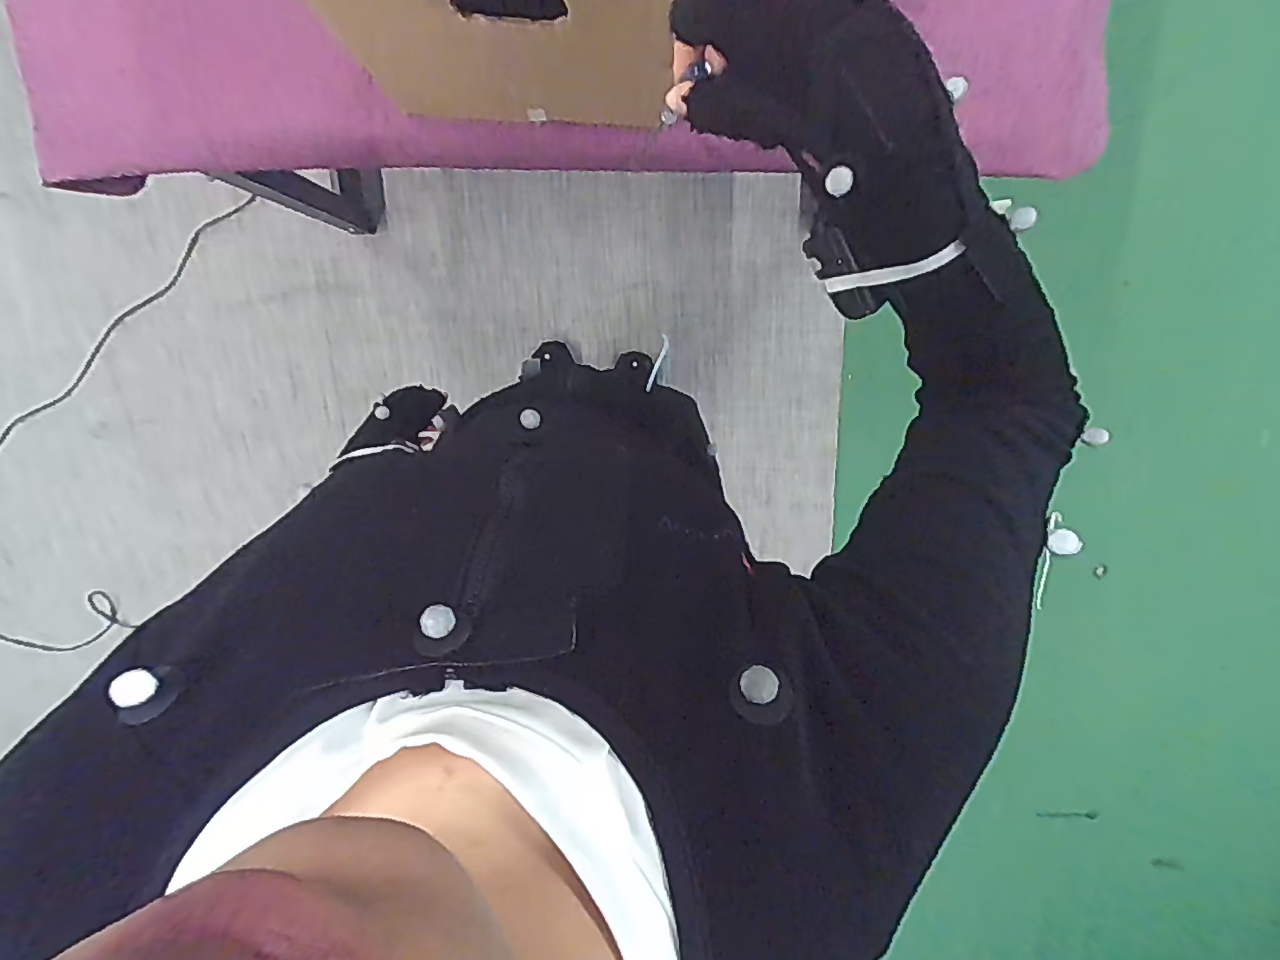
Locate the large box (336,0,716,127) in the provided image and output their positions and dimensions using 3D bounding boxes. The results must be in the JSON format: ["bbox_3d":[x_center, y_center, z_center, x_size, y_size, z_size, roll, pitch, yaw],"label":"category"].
[{"bbox_3d":[-0.094,-0.585,0.453,0.320,0.320,0.408,1,104,-4],"label":"large box"}]
